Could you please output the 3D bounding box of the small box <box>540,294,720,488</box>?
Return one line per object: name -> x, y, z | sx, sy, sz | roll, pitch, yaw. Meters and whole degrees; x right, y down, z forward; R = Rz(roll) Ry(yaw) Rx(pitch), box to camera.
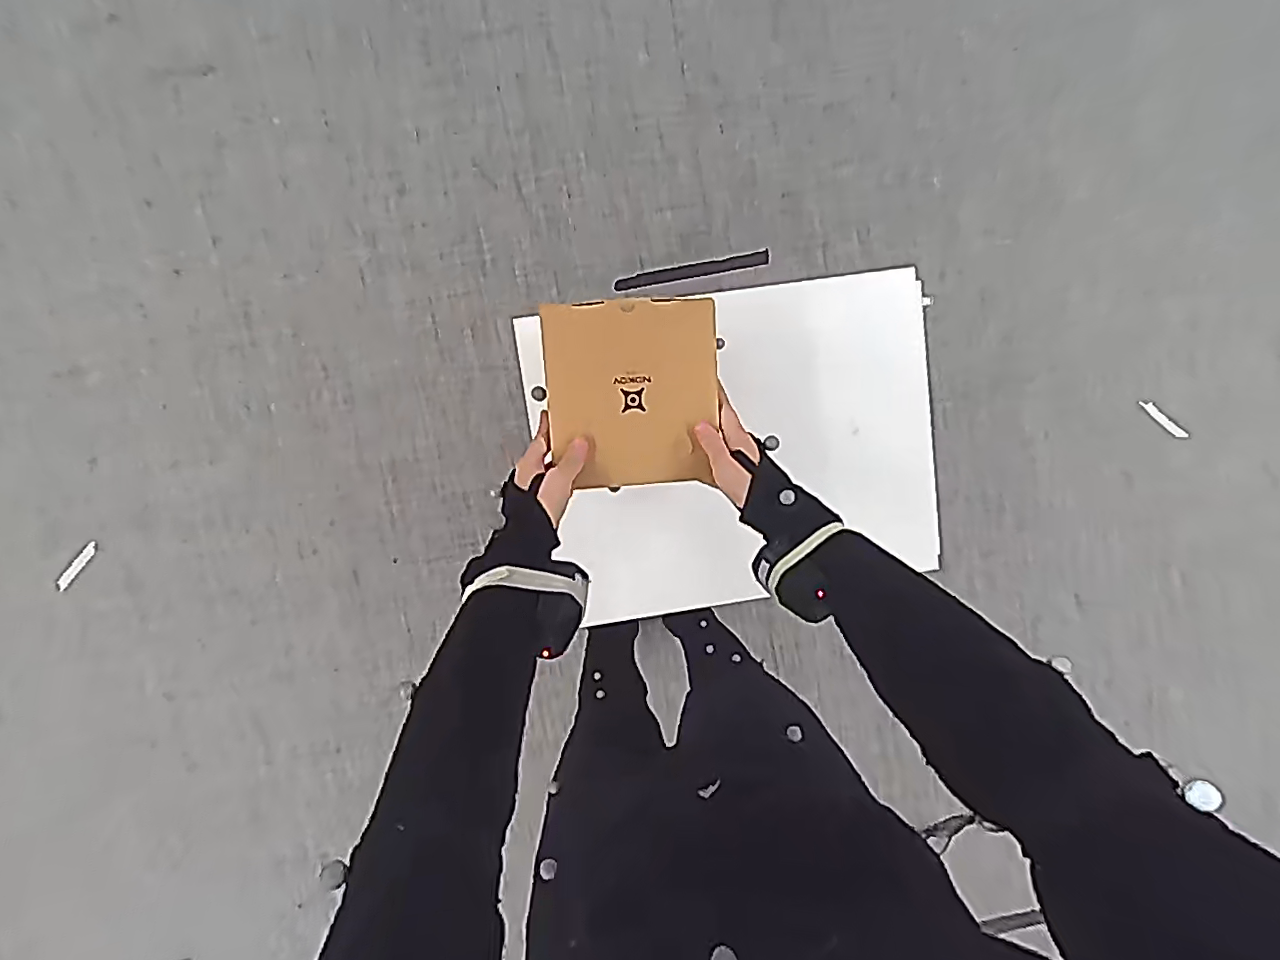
small box -> -0.012, -0.092, 0.588 | 0.168, 0.176, 0.179 | -4, 97, -4
